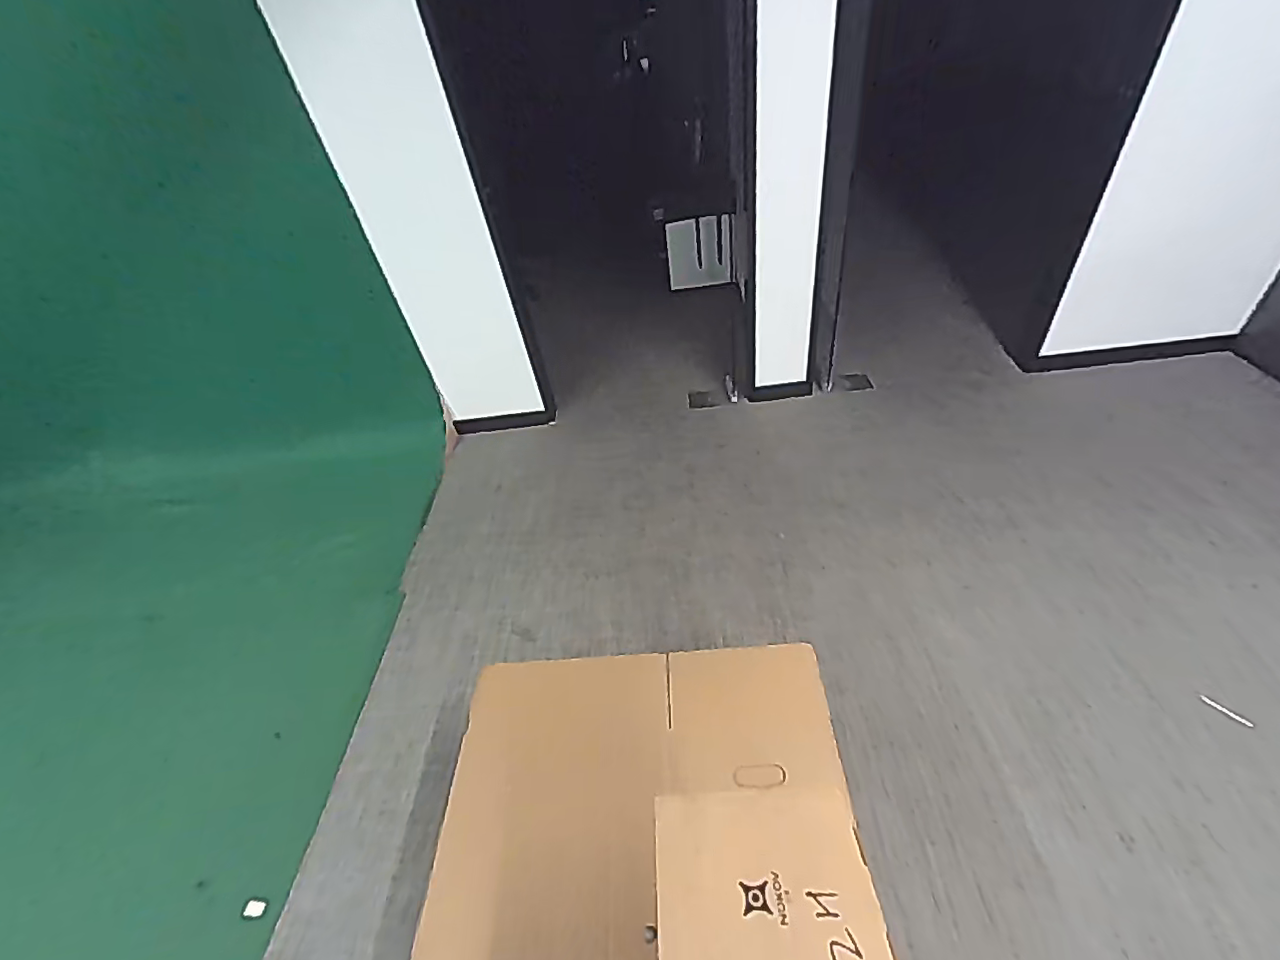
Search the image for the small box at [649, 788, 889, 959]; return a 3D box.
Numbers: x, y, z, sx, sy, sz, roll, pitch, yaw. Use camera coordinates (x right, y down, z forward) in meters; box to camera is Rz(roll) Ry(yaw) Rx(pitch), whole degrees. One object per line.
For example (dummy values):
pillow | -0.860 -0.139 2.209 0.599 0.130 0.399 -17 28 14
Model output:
small box | 0.101 0.397 0.474 0.179 0.176 0.168 -3 34 2
